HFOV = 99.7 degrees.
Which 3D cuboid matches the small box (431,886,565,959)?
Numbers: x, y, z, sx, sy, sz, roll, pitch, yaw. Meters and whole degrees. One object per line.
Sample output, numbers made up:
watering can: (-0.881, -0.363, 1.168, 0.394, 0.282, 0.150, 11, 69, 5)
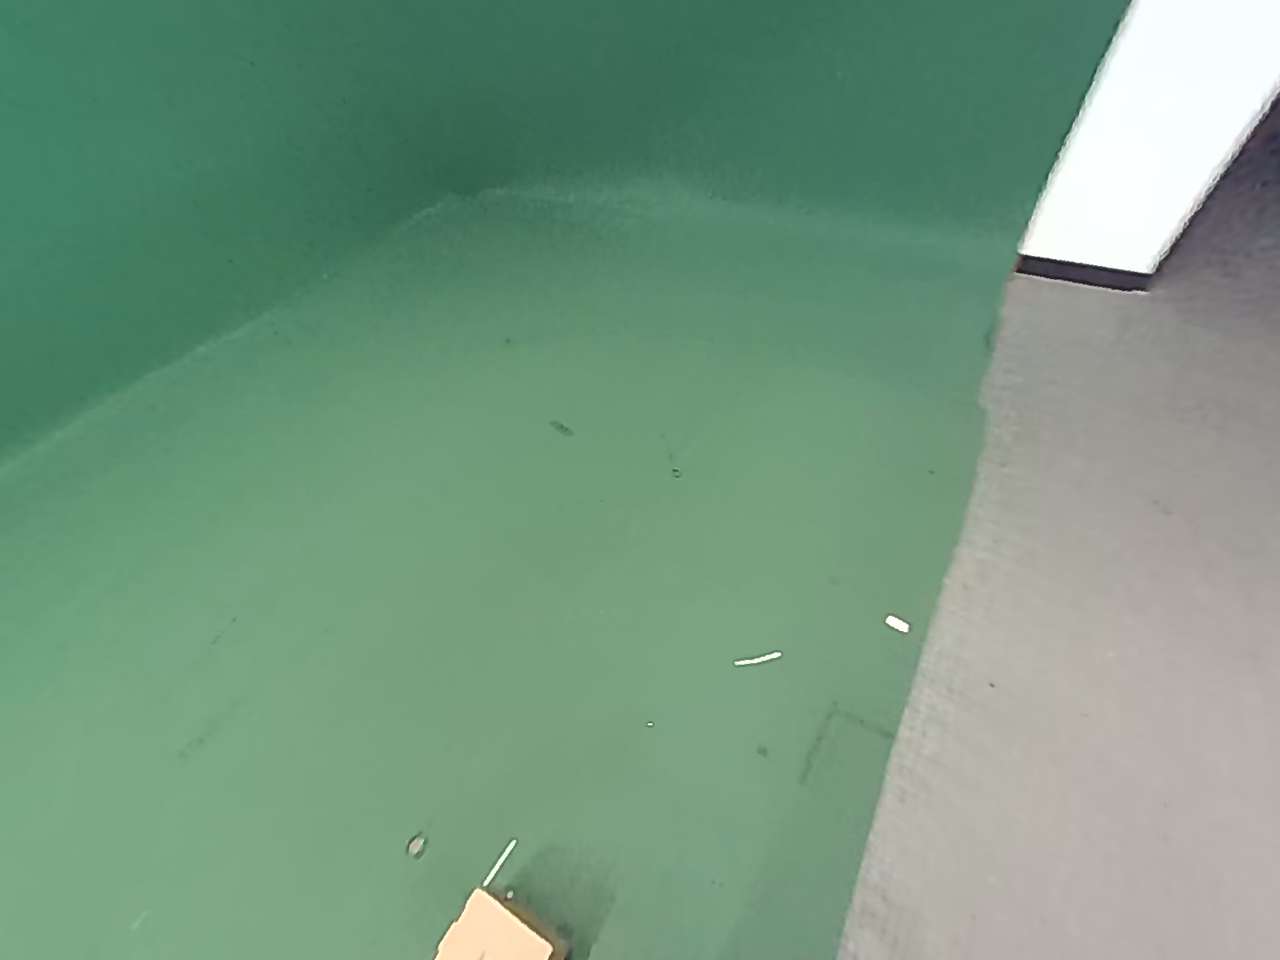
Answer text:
small box: (-0.257, 0.869, 0.965, 0.179, 0.176, 0.168, 21, 57, 20)
